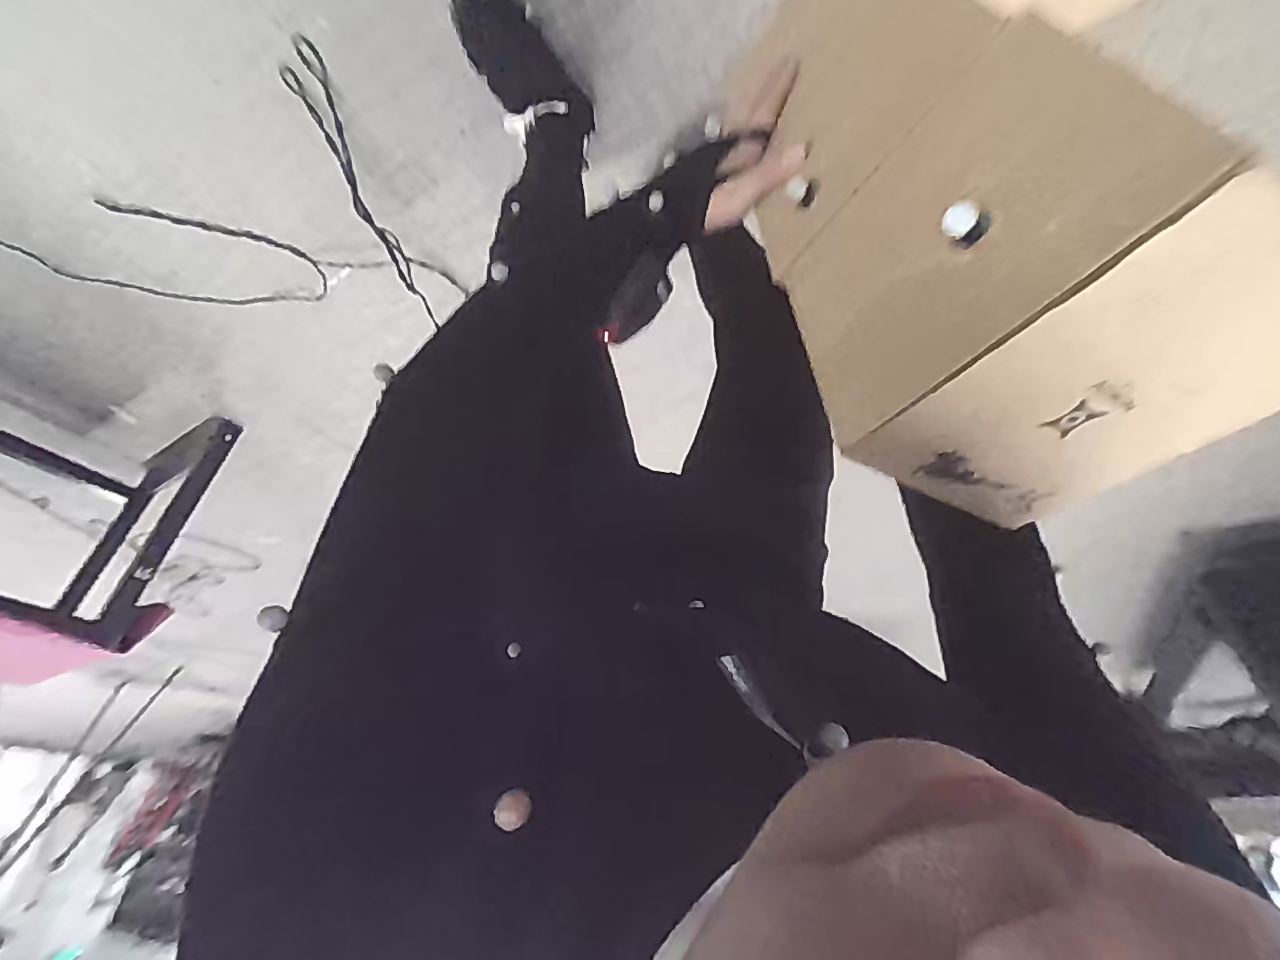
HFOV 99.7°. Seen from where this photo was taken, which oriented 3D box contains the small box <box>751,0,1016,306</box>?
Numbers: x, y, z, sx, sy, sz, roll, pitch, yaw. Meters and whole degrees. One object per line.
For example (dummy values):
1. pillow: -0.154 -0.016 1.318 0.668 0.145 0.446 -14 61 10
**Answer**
1. small box: 0.201 -0.222 0.407 0.168 0.176 0.179 19 139 -26
